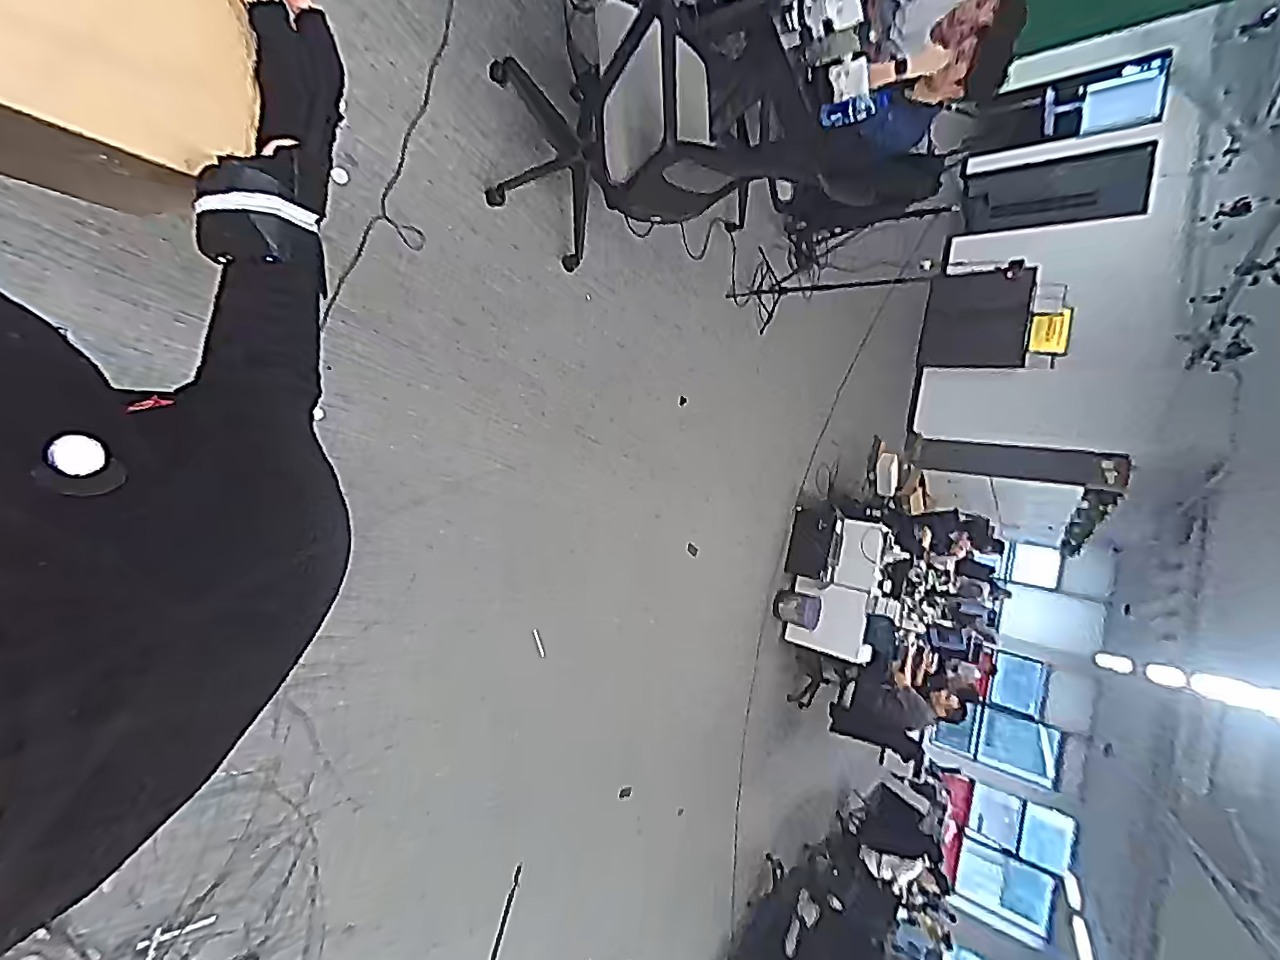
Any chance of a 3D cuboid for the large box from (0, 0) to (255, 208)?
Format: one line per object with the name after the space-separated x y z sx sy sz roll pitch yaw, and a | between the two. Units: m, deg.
-0.528 -0.414 0.337 0.408 0.320 0.320 1 103 -55 | large box
